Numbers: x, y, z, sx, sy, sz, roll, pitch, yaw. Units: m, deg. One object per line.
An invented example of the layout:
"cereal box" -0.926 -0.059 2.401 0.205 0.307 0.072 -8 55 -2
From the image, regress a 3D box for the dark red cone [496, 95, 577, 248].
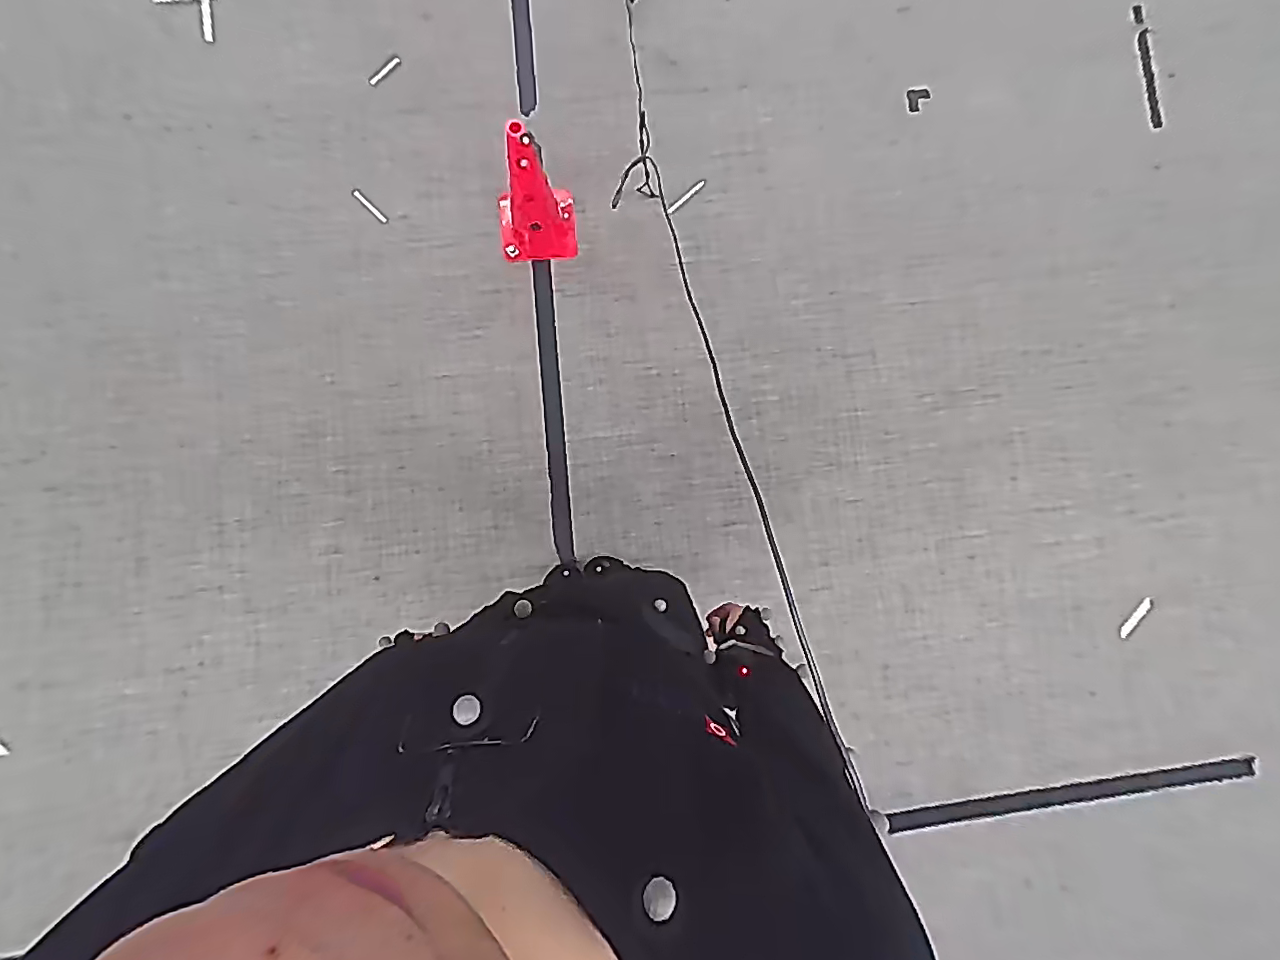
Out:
"dark red cone" -0.263 -0.727 1.271 0.201 0.394 0.202 -6 84 -5
